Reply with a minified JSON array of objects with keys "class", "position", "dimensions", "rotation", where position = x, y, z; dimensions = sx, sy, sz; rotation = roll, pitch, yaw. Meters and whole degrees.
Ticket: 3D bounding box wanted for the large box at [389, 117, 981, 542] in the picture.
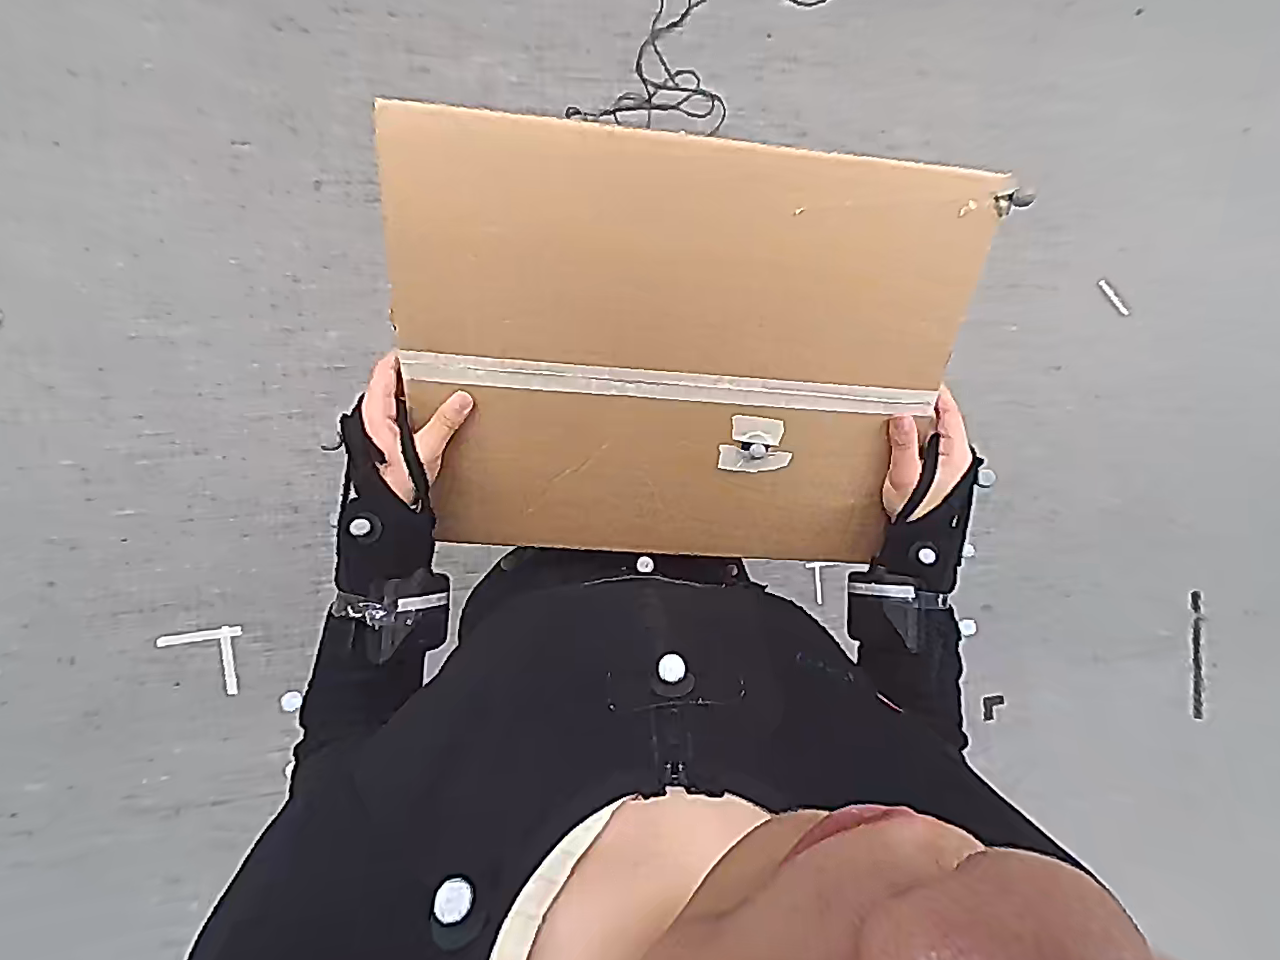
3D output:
[{"class":"large box","position":[0.016,-0.151,0.552],"dimensions":[0.408,0.320,0.320],"rotation":[2,119,-6]}]
